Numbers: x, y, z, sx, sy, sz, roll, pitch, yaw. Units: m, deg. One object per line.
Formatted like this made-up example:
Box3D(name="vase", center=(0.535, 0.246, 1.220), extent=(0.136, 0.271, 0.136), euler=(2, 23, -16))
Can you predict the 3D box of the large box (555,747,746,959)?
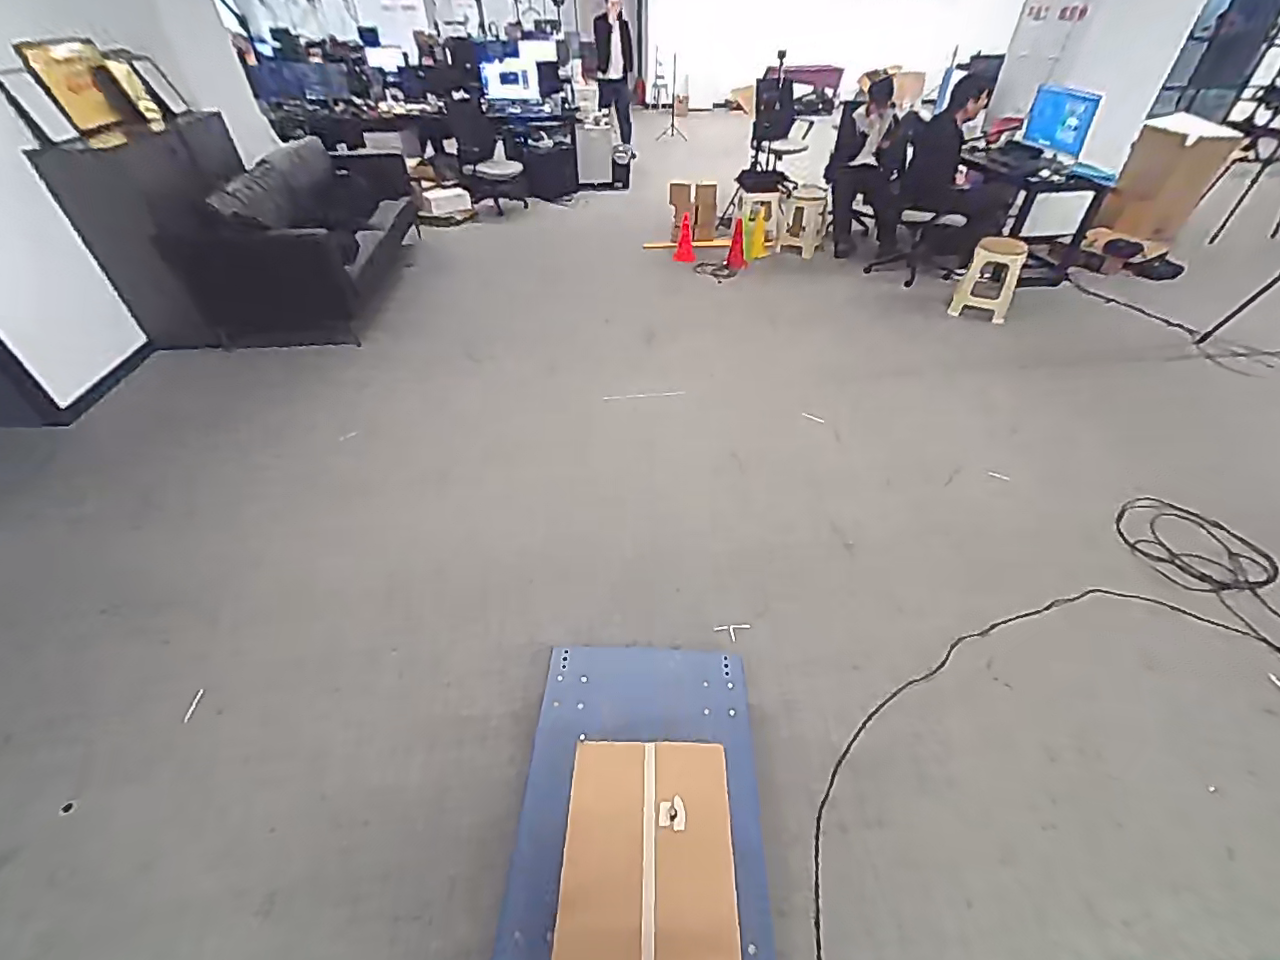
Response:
Box3D(name="large box", center=(0.021, 0.803, 1.073), extent=(0.320, 0.320, 0.408), euler=(1, 40, 1))
